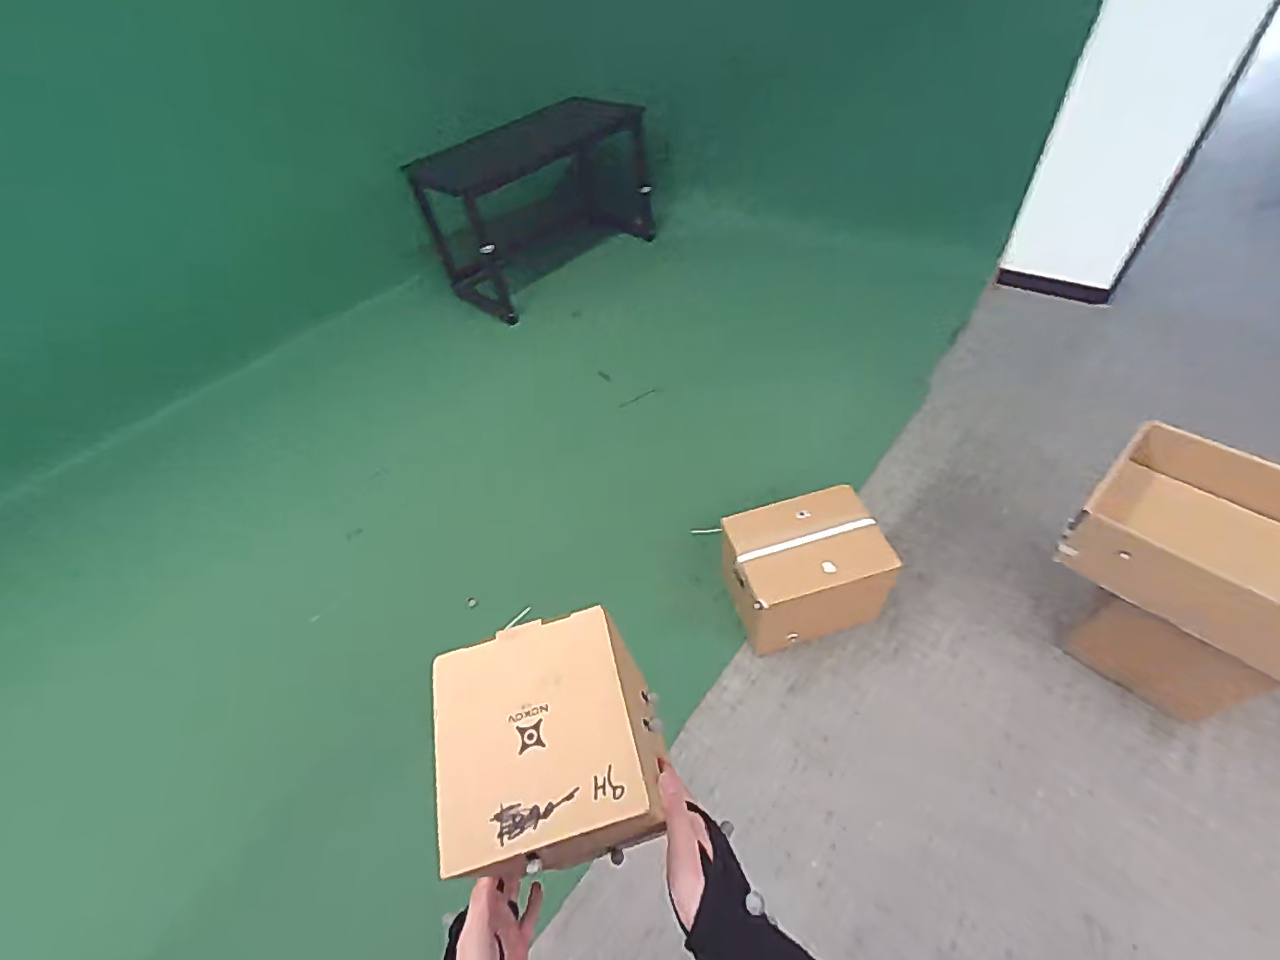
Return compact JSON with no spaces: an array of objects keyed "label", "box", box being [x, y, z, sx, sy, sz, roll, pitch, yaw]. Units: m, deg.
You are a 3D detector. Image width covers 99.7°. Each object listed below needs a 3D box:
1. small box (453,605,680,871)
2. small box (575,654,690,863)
[{"label":"small box","box":[-0.066,0.250,0.518,0.168,0.176,0.179,-16,53,-1]},{"label":"small box","box":[-0.044,0.339,0.654,0.168,0.176,0.179,-17,54,-1]}]
